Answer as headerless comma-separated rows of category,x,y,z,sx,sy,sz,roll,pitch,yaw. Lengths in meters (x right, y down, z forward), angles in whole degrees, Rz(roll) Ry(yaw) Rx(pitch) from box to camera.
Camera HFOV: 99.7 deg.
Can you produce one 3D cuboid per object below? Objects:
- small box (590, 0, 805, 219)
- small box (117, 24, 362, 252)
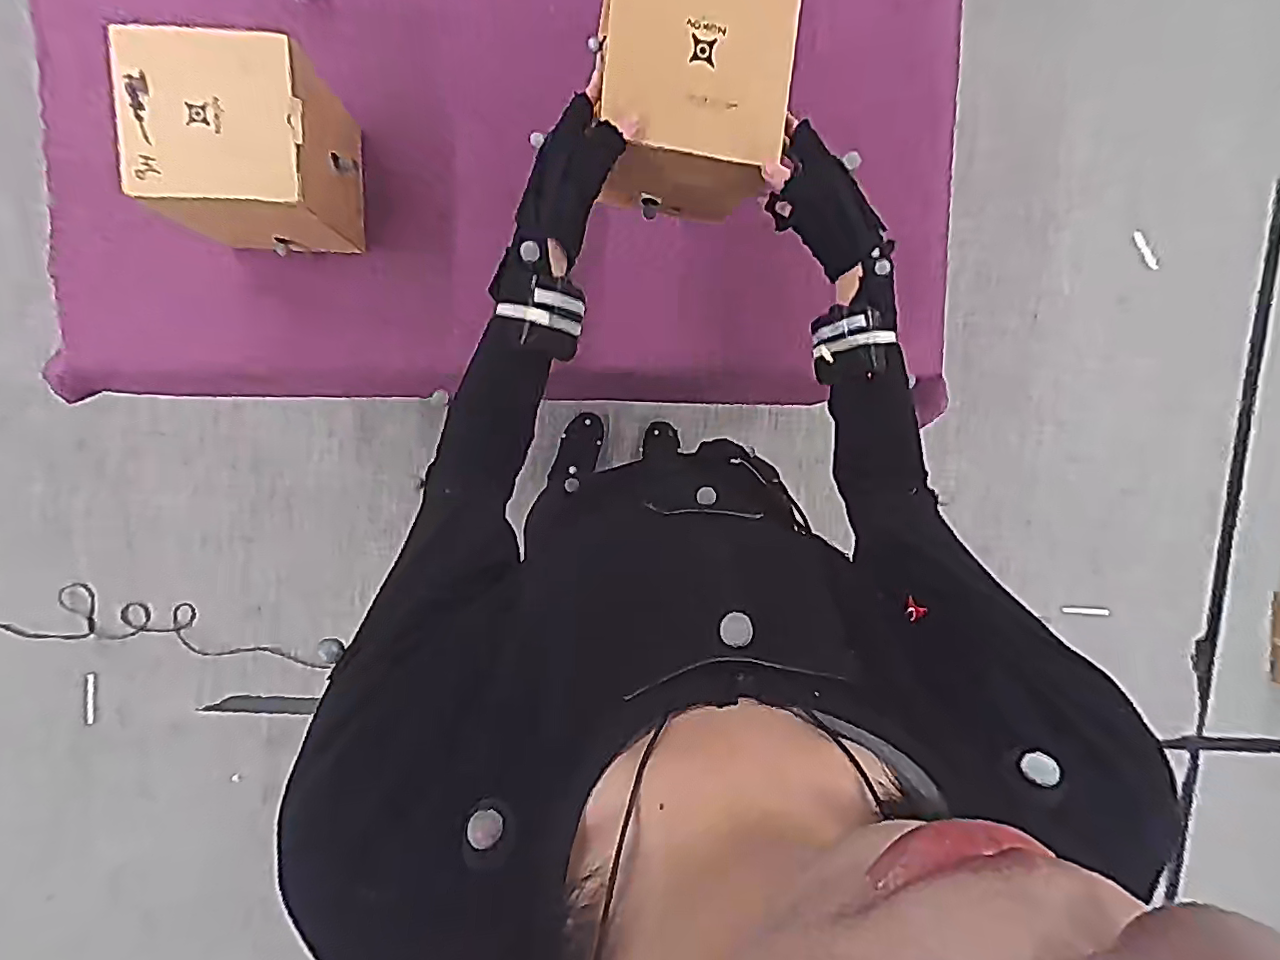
small box,0.042,-0.382,0.530,0.168,0.176,0.179,4,100,-10
small box,-0.443,-0.379,0.633,0.179,0.176,0.168,0,95,-6
